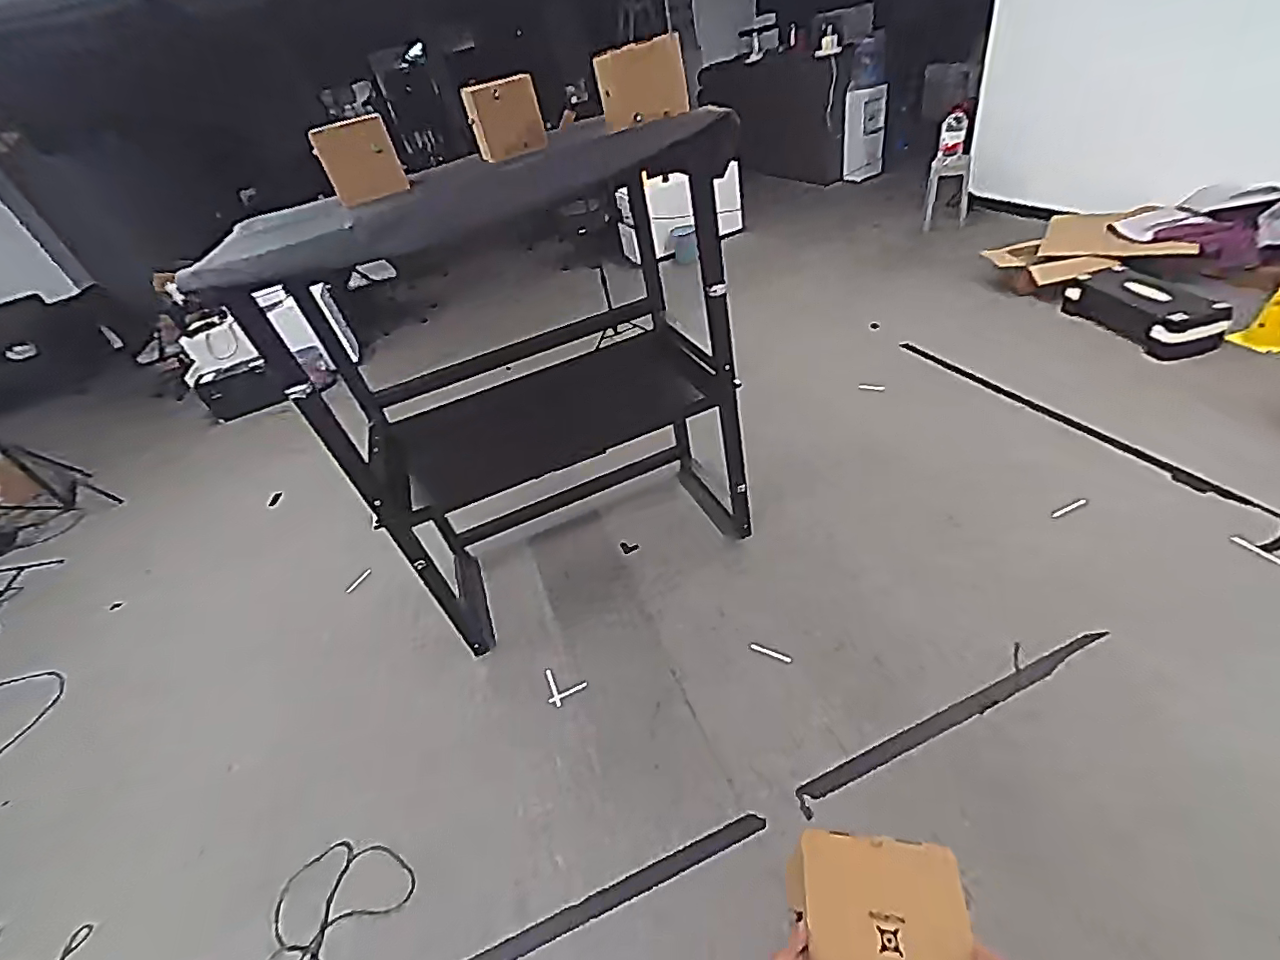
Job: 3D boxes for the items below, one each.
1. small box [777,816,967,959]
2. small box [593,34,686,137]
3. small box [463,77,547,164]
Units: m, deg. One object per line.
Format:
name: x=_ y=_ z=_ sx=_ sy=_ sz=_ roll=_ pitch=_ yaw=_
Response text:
small box: x=0.248 y=0.509 z=0.607 sx=0.168 sy=0.176 sz=0.179 roll=2 pitch=43 yaw=8
small box: x=0.001 y=-0.961 z=1.332 sx=0.168 sy=0.176 sz=0.179 roll=-21 pitch=35 yaw=-7
small box: x=-0.373 y=-0.994 z=1.500 sx=0.168 sy=0.176 sz=0.179 roll=-23 pitch=39 yaw=-10
